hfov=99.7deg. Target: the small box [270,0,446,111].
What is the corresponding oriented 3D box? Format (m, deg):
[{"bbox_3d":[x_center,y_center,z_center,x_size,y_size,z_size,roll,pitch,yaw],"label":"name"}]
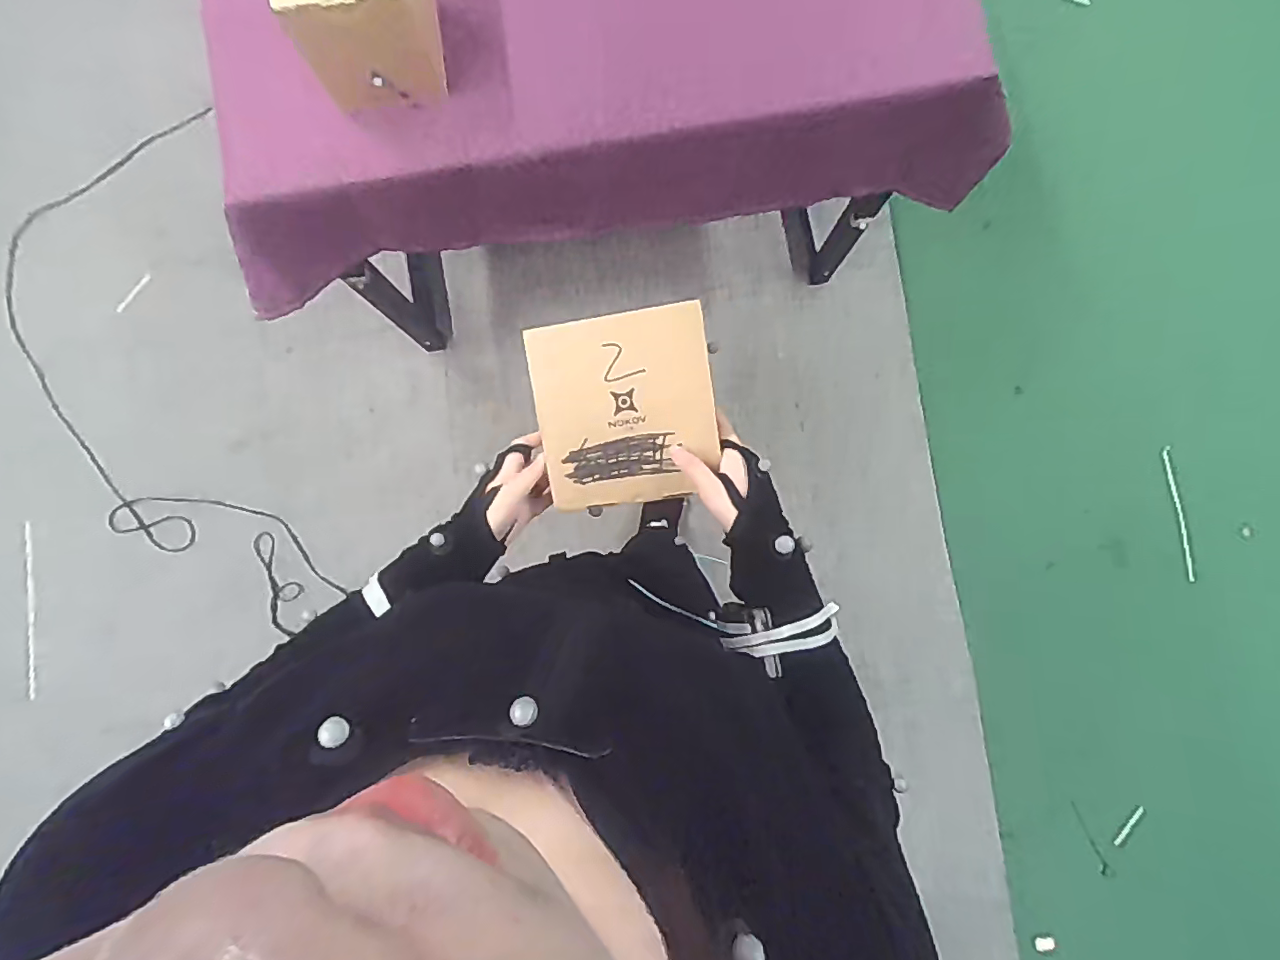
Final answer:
[{"bbox_3d":[-0.389,-0.669,0.761,0.168,0.176,0.179,-9,84,-1],"label":"small box"}]
